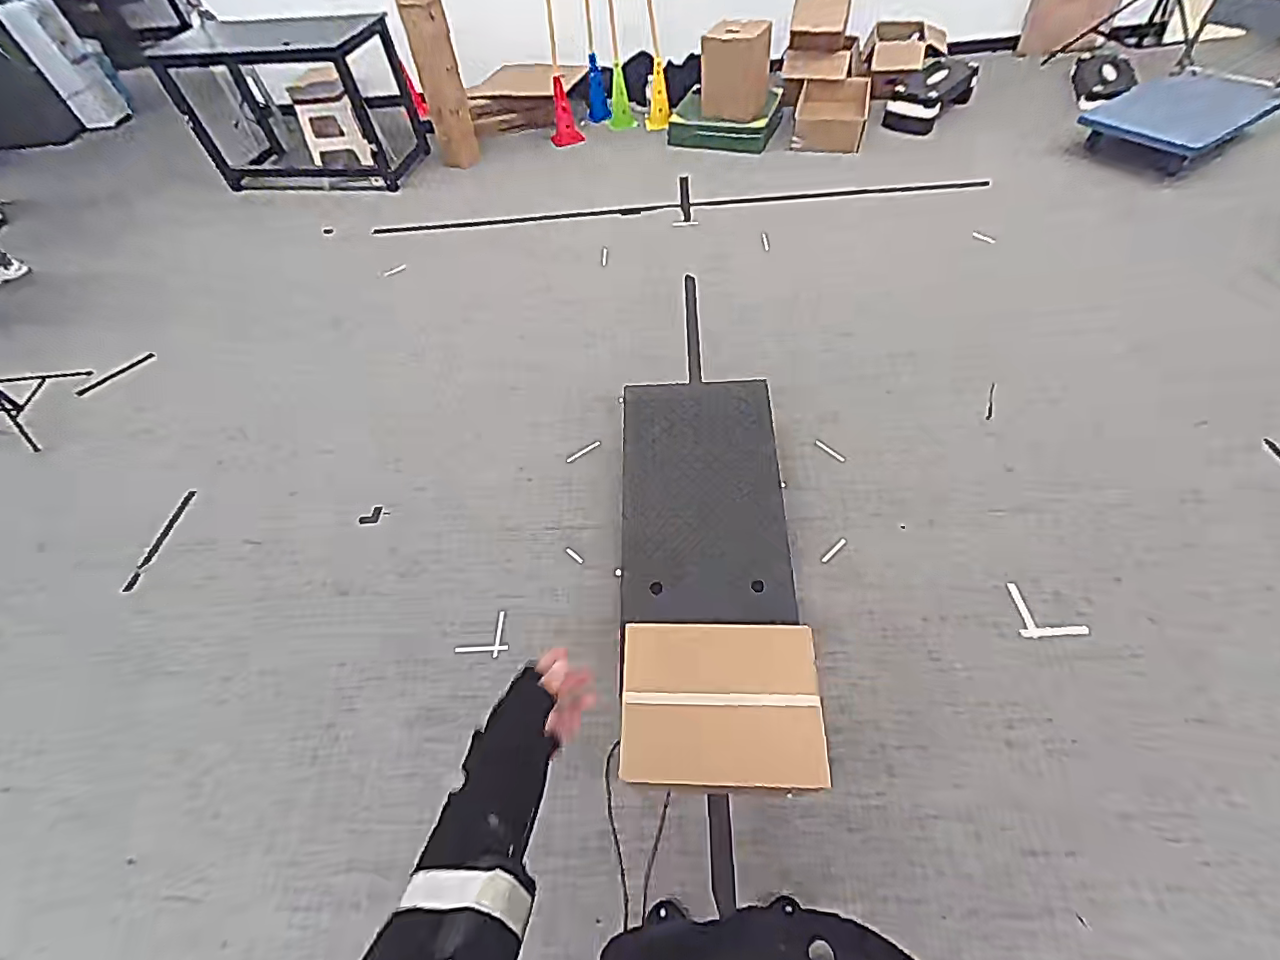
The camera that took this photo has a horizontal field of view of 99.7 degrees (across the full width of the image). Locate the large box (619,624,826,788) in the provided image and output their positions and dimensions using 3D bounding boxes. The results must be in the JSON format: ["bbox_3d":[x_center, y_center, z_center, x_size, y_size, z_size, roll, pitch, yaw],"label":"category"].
[{"bbox_3d":[0.171,0.529,1.244,0.408,0.320,0.320,-1,57,4],"label":"large box"}]

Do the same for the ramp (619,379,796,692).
[{"bbox_3d":[0.184,0.112,1.639,0.509,0.206,0.991,-3,53,2],"label":"ramp"}]
